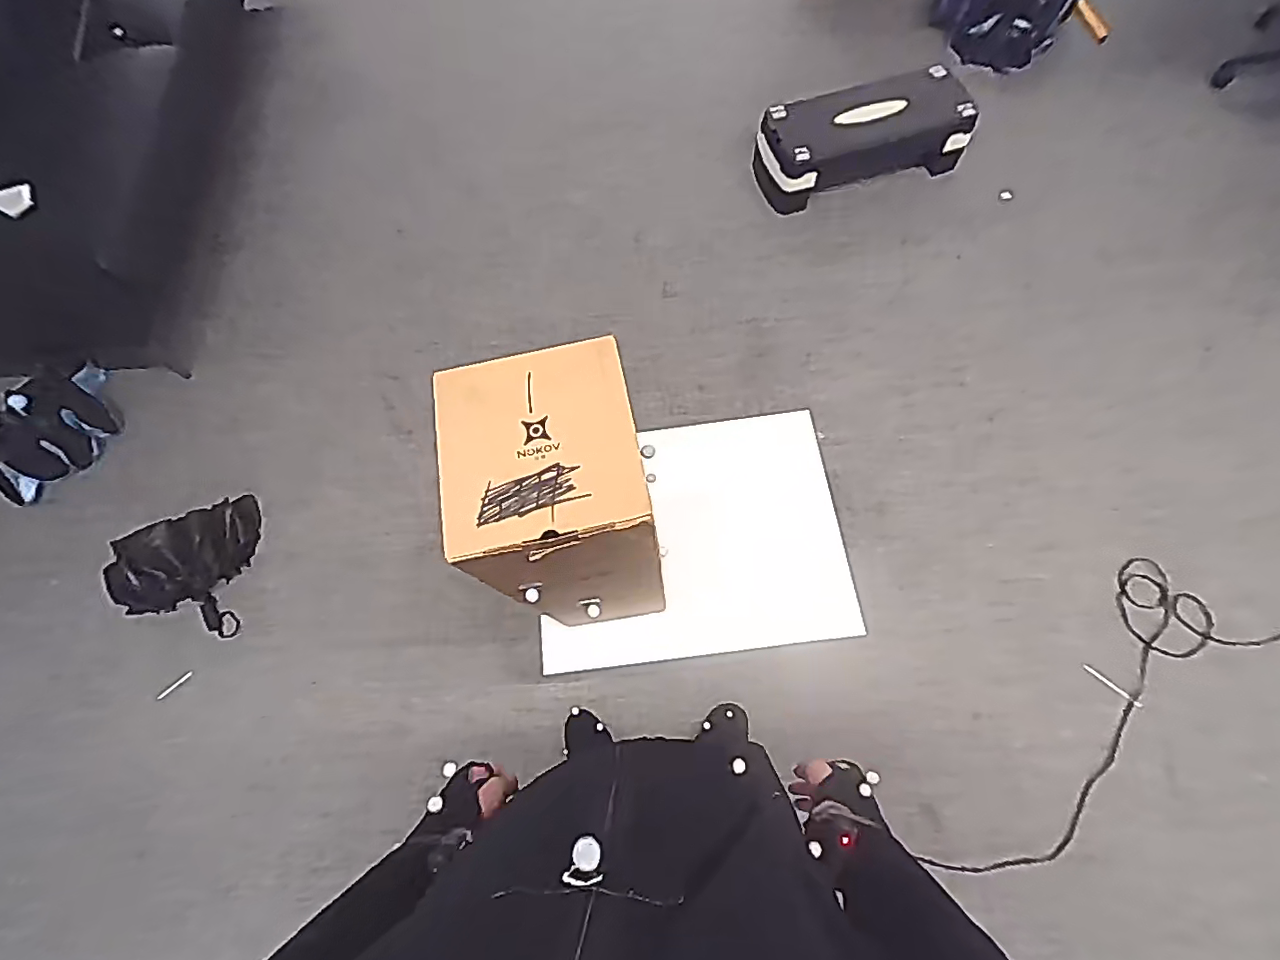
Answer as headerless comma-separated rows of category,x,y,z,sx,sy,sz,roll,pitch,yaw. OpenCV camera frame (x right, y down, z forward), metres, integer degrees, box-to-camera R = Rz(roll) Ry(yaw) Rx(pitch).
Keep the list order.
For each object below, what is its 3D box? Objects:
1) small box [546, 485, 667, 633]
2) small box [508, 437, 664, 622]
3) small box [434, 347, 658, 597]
small box,-0.053,0.126,0.825,0.168,0.176,0.179,-10,69,1
small box,-0.067,0.067,0.672,0.168,0.176,0.179,-11,69,0
small box,-0.081,0.006,0.520,0.168,0.176,0.179,-12,66,0
